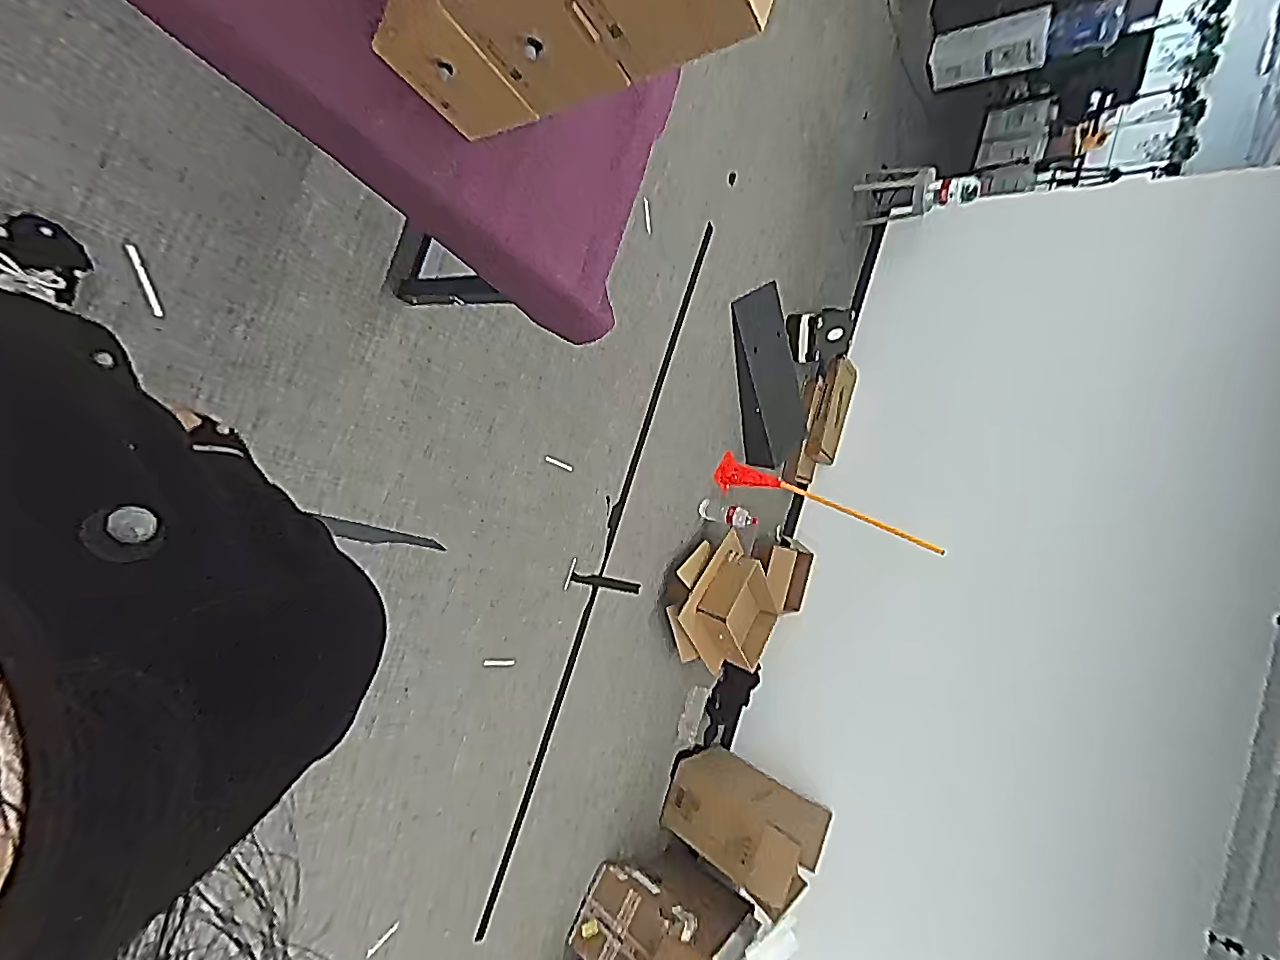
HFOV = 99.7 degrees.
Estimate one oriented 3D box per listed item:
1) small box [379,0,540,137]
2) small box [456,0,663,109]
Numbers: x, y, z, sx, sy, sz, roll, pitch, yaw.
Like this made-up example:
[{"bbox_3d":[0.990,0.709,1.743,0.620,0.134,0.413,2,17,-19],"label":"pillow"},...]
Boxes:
[{"bbox_3d":[-0.221,-0.608,0.730,0.168,0.176,0.179,25,81,-52],"label":"small box"},{"bbox_3d":[-0.093,-0.581,0.632,0.168,0.176,0.179,27,80,-52],"label":"small box"}]
